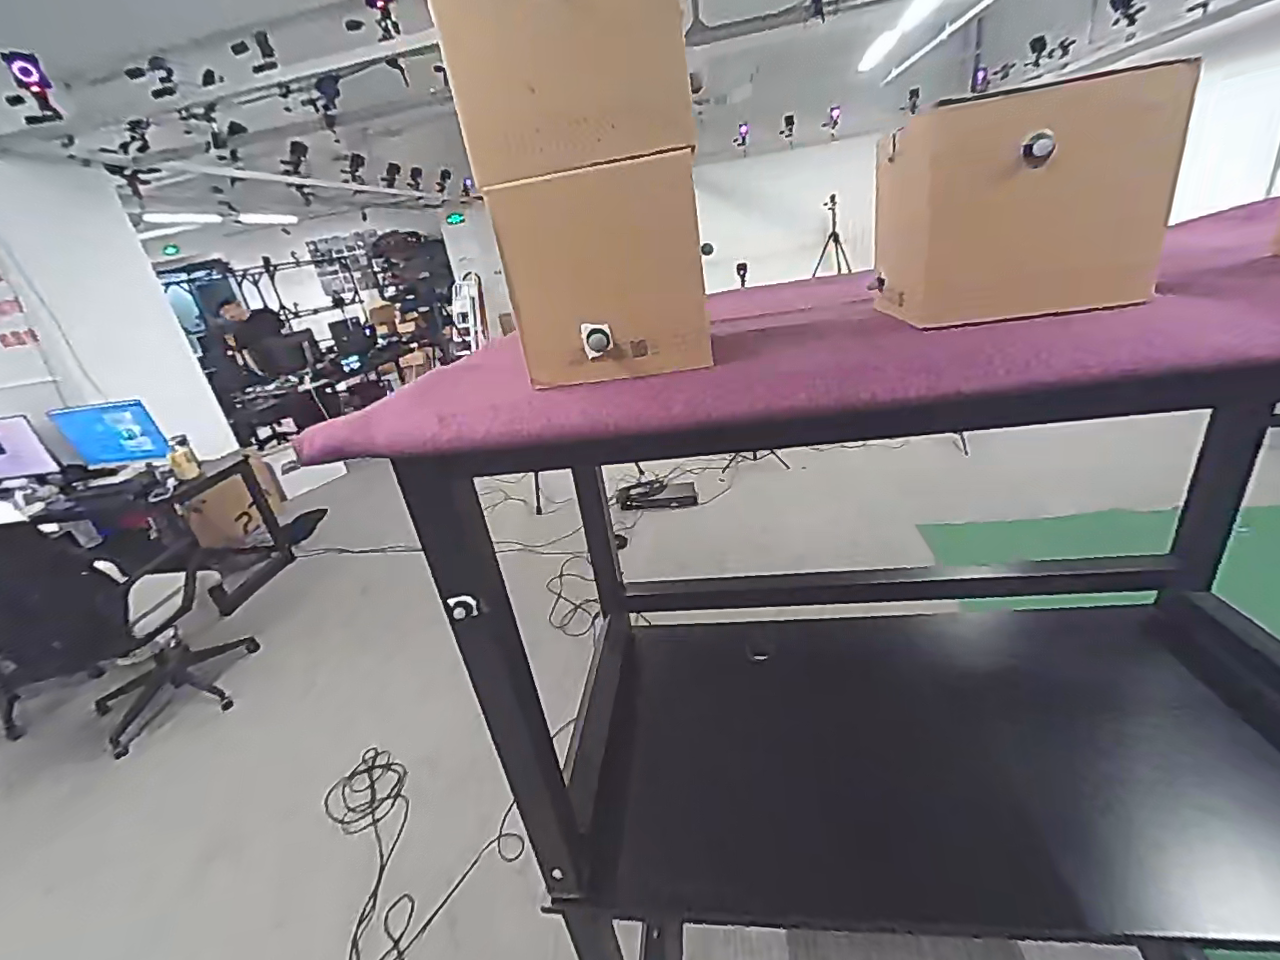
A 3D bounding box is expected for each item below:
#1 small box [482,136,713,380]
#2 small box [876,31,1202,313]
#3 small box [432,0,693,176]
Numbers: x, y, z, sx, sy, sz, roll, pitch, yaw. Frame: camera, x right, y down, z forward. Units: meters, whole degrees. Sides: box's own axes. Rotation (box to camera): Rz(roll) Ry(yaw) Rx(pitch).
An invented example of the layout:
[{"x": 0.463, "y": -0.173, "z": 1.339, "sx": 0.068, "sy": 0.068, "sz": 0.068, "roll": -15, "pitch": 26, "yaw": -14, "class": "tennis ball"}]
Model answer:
[{"x": -0.025, "y": -0.202, "z": 0.511, "sx": 0.168, "sy": 0.176, "sz": 0.179, "roll": -8, "pitch": 25, "yaw": 7, "class": "small box"}, {"x": 0.322, "y": -0.250, "z": 0.481, "sx": 0.179, "sy": 0.176, "sz": 0.168, "roll": -4, "pitch": 23, "yaw": 11, "class": "small box"}, {"x": -0.056, "y": -0.351, "z": 0.446, "sx": 0.179, "sy": 0.176, "sz": 0.168, "roll": -8, "pitch": 25, "yaw": 7, "class": "small box"}]
